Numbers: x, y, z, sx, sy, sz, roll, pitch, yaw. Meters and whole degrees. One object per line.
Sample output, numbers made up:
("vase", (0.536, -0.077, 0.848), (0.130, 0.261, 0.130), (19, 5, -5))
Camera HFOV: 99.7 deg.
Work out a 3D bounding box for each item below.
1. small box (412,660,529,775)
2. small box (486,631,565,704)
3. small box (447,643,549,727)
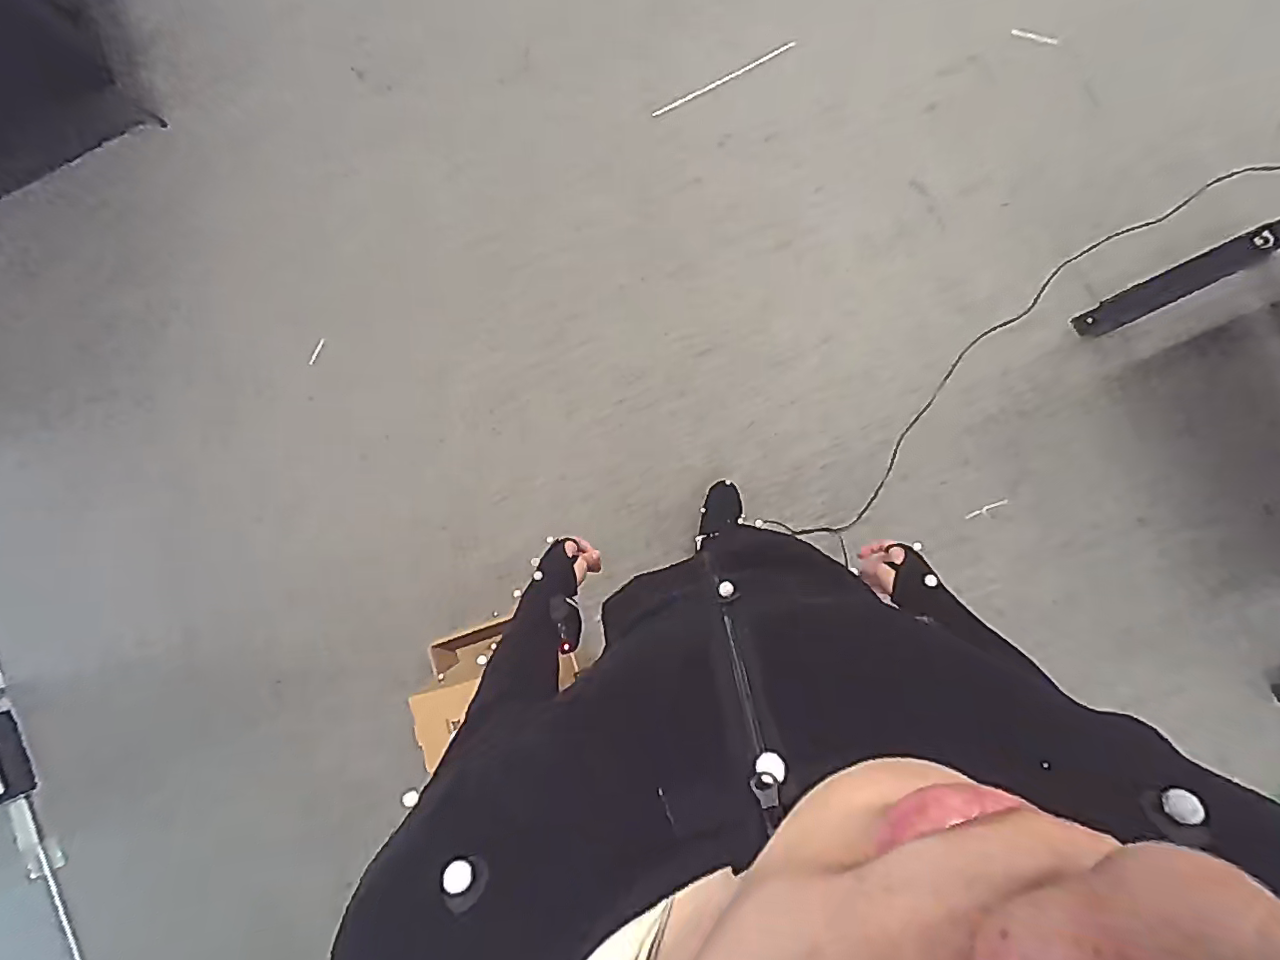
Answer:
("small box", (-0.372, 0.523, 1.209), (0.179, 0.176, 0.168), (-16, 86, 5))
("small box", (-0.334, 0.545, 1.533), (0.179, 0.176, 0.168), (-19, 86, 5))
("small box", (-0.353, 0.530, 1.371), (0.179, 0.176, 0.168), (-17, 86, 6))
